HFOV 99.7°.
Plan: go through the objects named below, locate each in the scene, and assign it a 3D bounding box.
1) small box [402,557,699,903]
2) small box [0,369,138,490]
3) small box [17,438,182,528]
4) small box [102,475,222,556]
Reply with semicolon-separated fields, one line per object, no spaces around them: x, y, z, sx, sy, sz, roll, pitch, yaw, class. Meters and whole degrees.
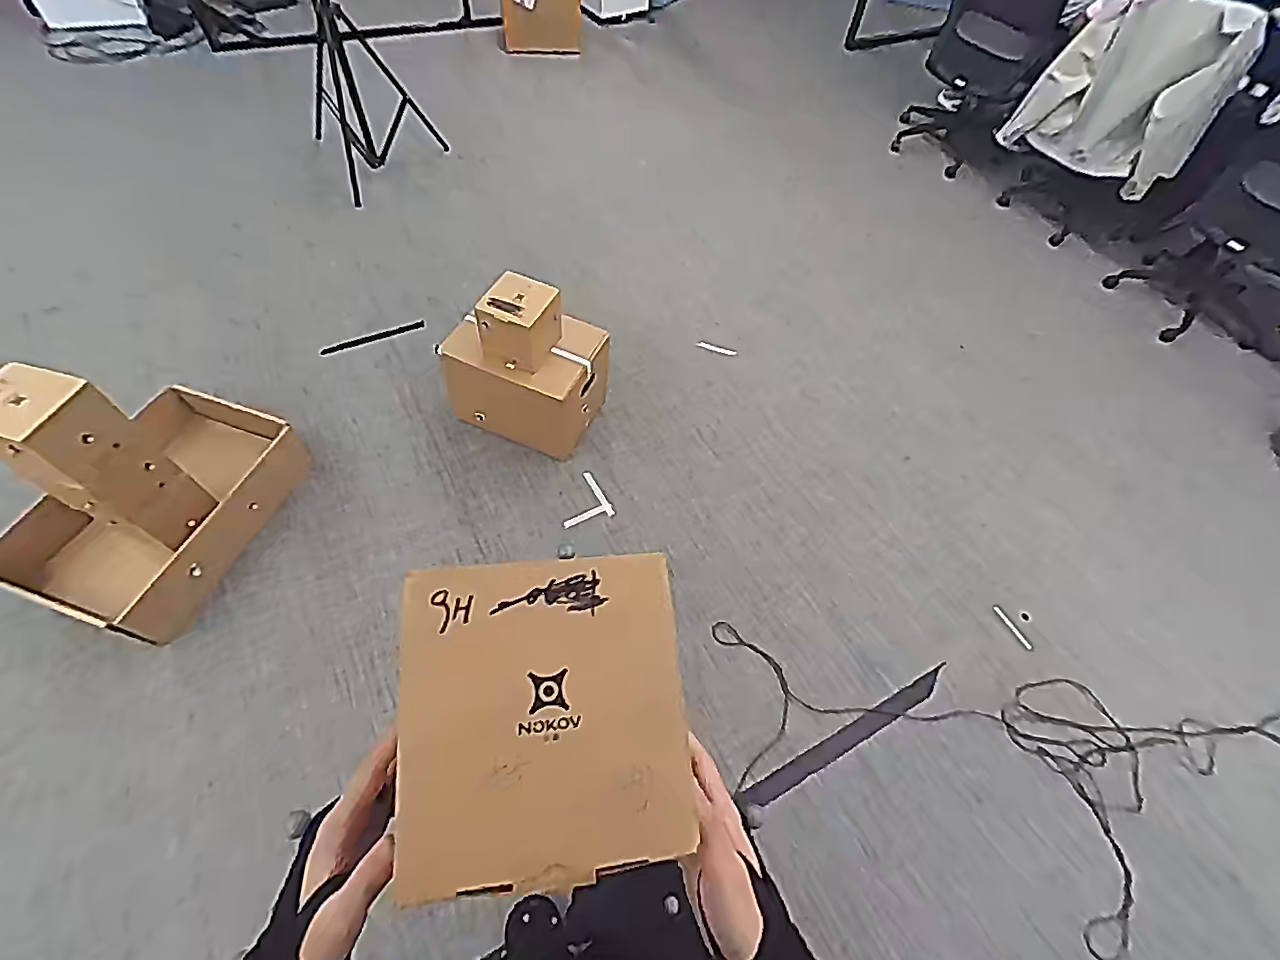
-0.066;0.160;0.395;0.168;0.176;0.179;-2;72;-12;small box
-1.230;-0.099;1.131;0.179;0.176;0.168;14;56;2;small box
-1.247;-0.006;1.267;0.179;0.176;0.168;13;56;4;small box
-1.258;0.076;1.406;0.179;0.176;0.168;18;58;5;small box
